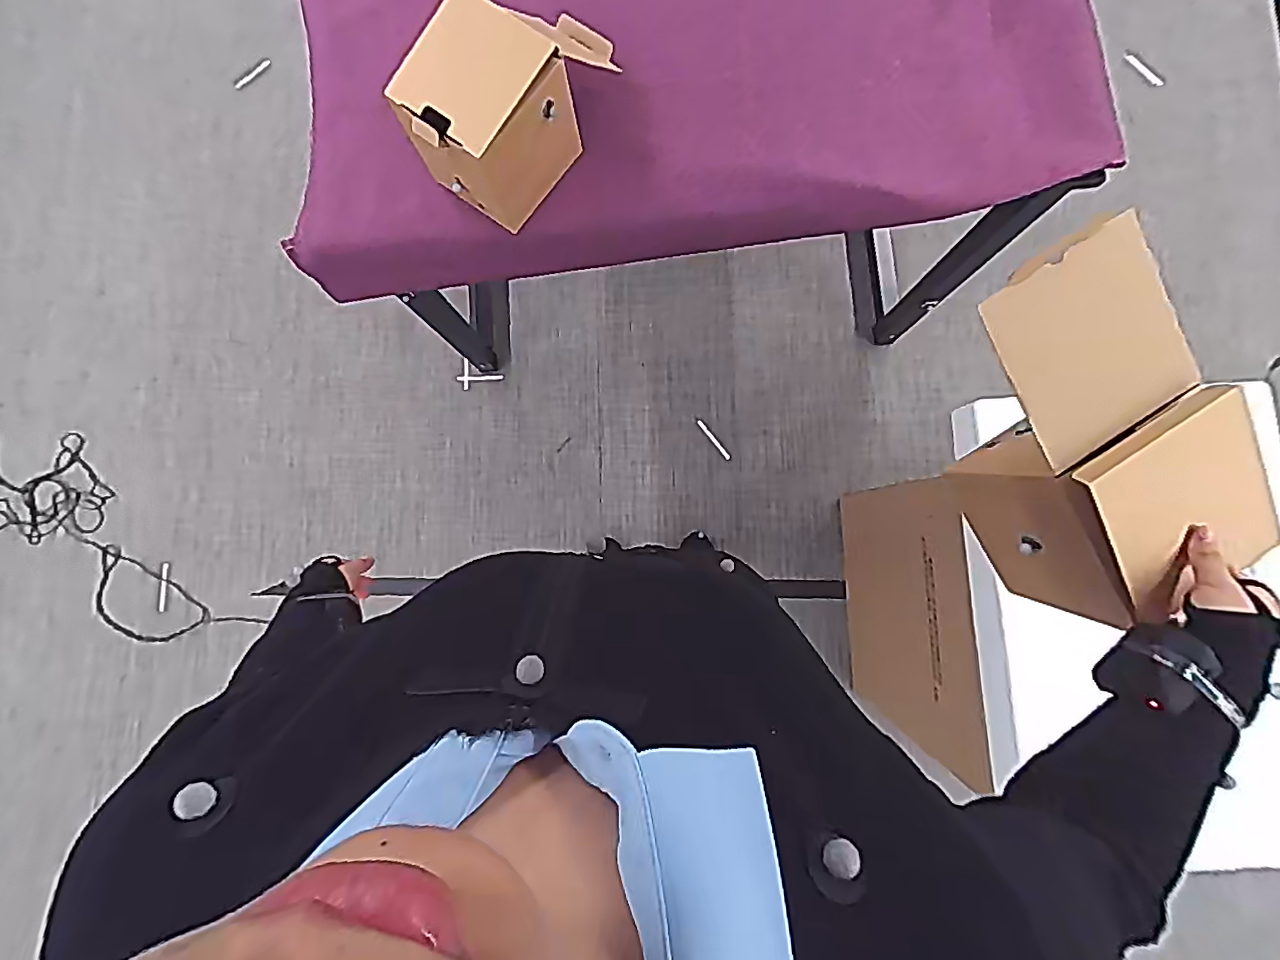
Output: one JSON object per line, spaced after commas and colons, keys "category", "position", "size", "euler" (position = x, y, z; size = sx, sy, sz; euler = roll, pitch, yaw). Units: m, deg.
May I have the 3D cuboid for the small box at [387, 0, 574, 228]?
{"category": "small box", "position": [-0.210, -0.509, 0.773], "size": [0.168, 0.176, 0.179], "euler": [37, 86, 7]}
